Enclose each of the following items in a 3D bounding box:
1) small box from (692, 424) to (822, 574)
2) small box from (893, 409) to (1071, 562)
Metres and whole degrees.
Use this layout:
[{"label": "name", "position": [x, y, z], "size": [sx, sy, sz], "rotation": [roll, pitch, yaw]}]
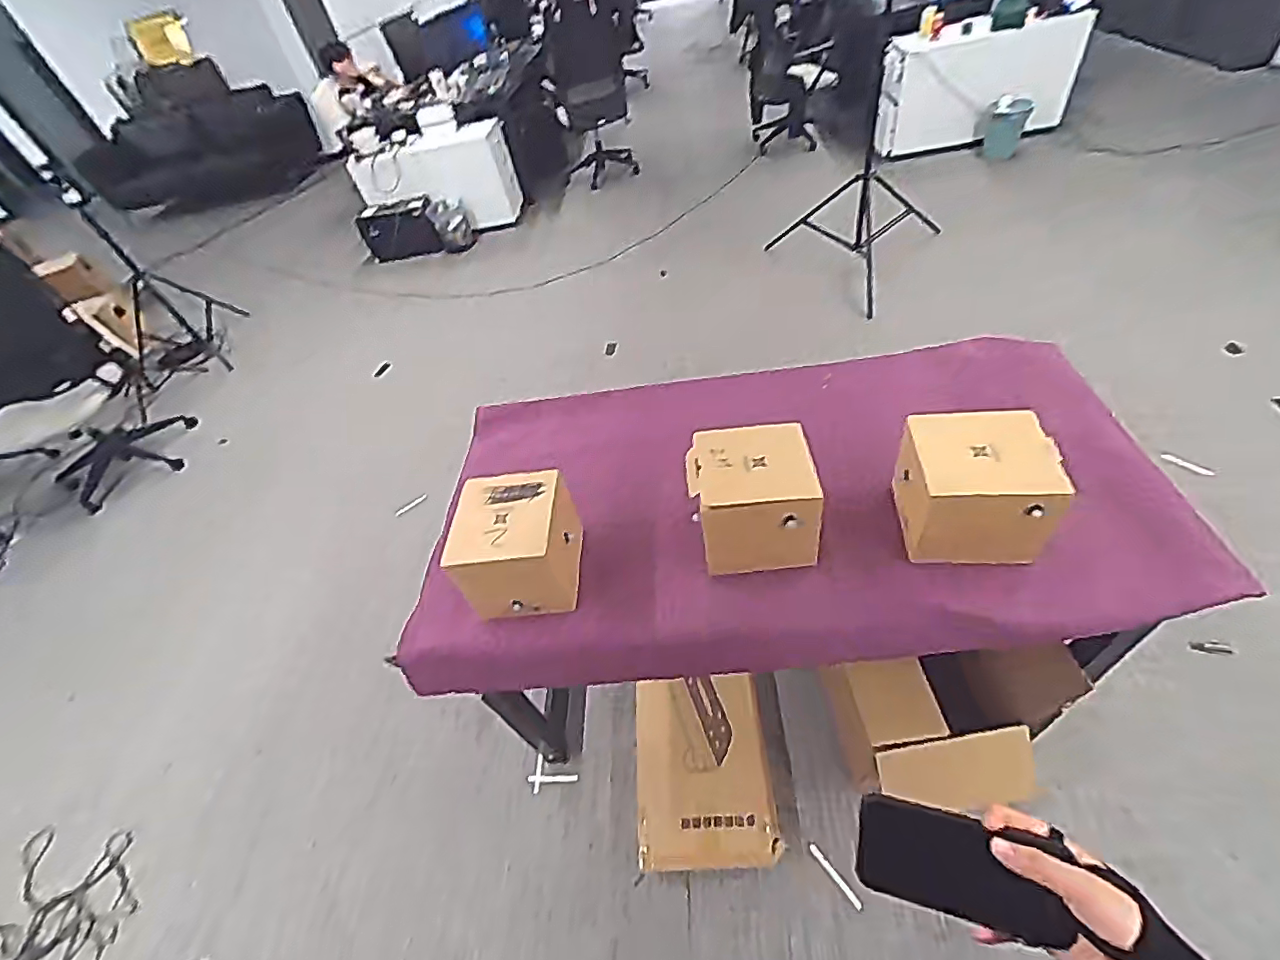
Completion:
[{"label": "small box", "position": [0.183, 0.034, 0.877], "size": [0.179, 0.176, 0.168], "rotation": [-7, 44, 7]}, {"label": "small box", "position": [0.496, 0.012, 0.823], "size": [0.179, 0.176, 0.168], "rotation": [-2, 48, 12]}]
